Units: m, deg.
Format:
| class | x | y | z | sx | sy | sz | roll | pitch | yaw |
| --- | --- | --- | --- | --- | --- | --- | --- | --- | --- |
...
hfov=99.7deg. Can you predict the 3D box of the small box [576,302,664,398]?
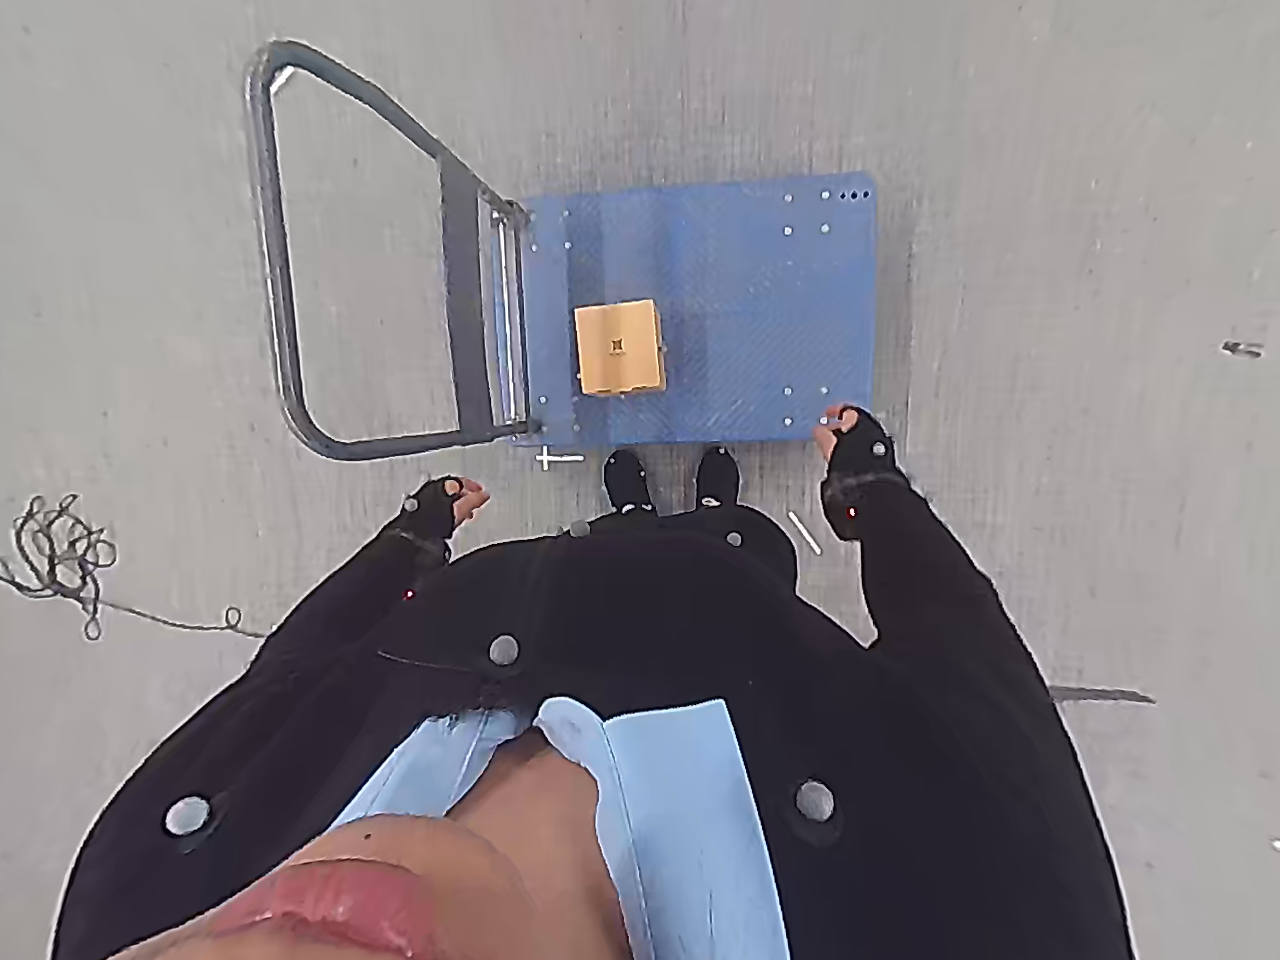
| class | x | y | z | sx | sy | sz | roll | pitch | yaw |
| --- | --- | --- | --- | --- | --- | --- | --- | --- | --- |
| small box | -0.038 | -0.277 | 1.187 | 0.168 | 0.176 | 0.179 | -5 | 97 | 7 |
